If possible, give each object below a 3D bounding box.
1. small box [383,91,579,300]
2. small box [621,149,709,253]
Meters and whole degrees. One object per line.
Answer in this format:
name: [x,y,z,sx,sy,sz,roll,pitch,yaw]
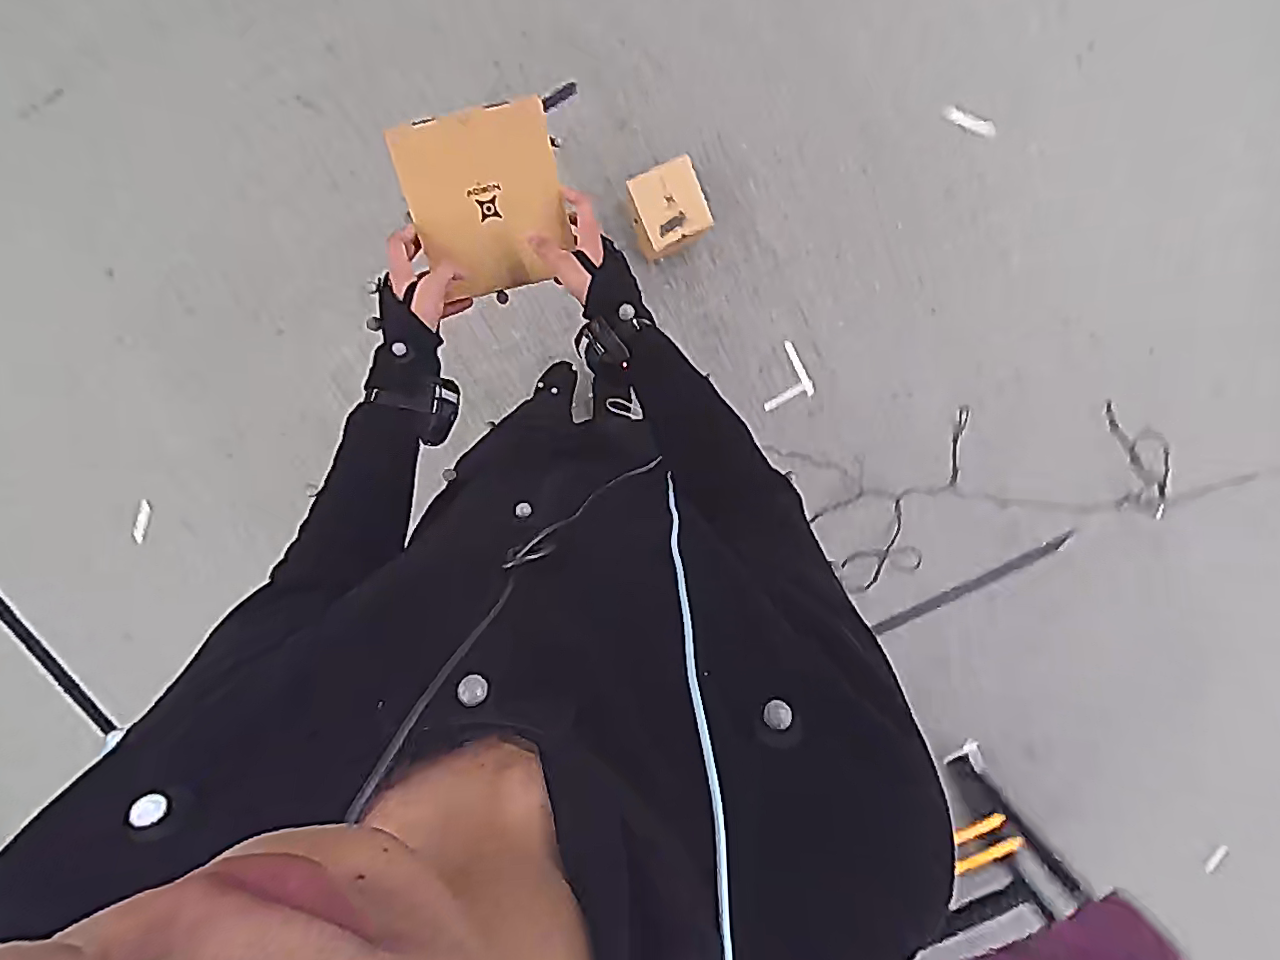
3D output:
small box: [-0.170,-0.324,0.648,0.168,0.176,0.179,-14,110,-2]
small box: [0.059,-0.707,1.397,0.168,0.176,0.179,-25,103,2]
